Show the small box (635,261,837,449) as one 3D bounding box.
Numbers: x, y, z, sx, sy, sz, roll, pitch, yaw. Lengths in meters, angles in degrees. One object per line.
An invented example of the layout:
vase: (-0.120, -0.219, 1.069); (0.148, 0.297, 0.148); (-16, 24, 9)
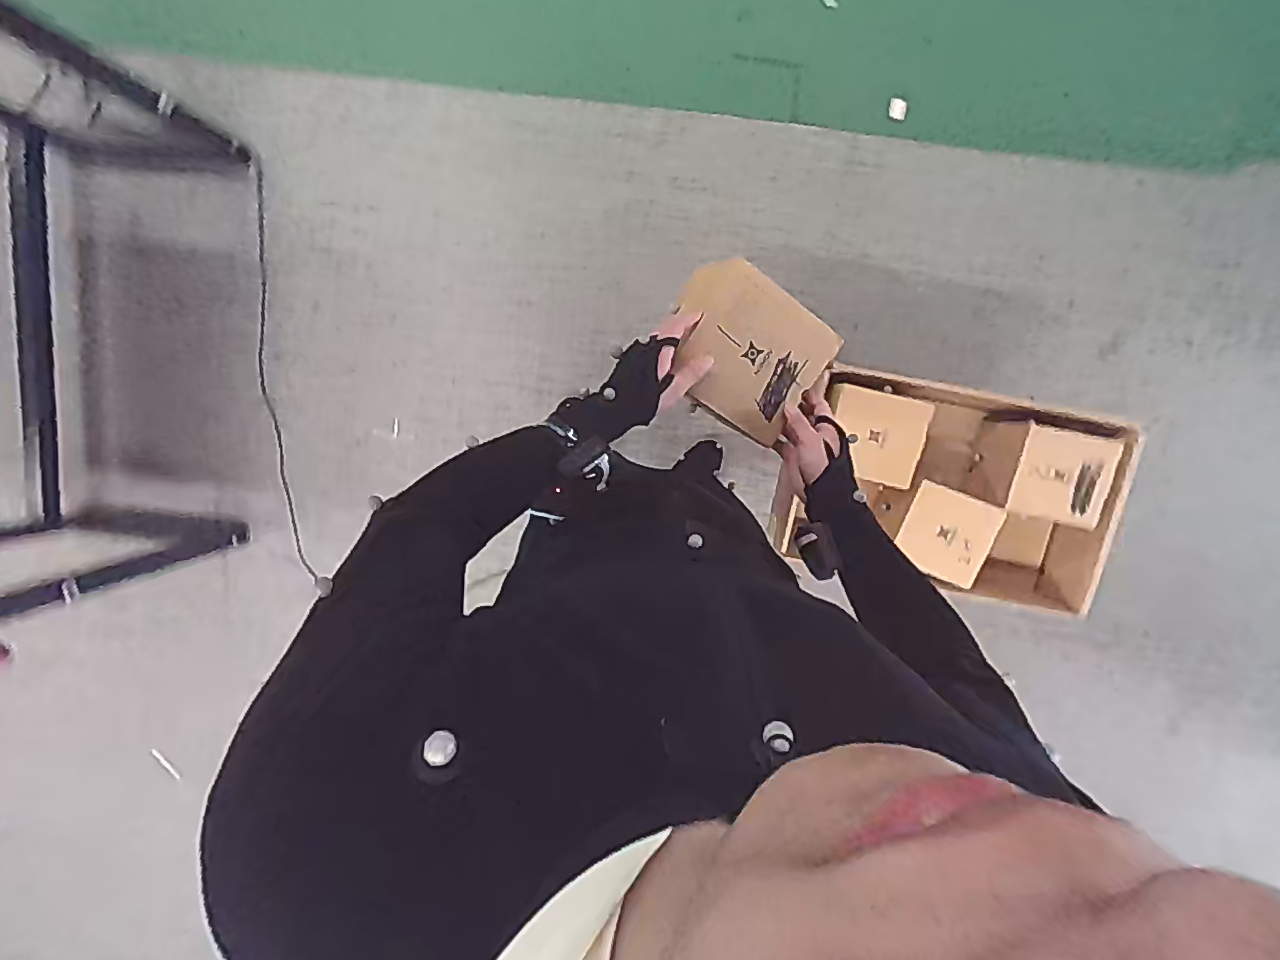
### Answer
small box: (0.116, -0.168, 0.726); (0.179, 0.176, 0.168); (30, 98, -19)
